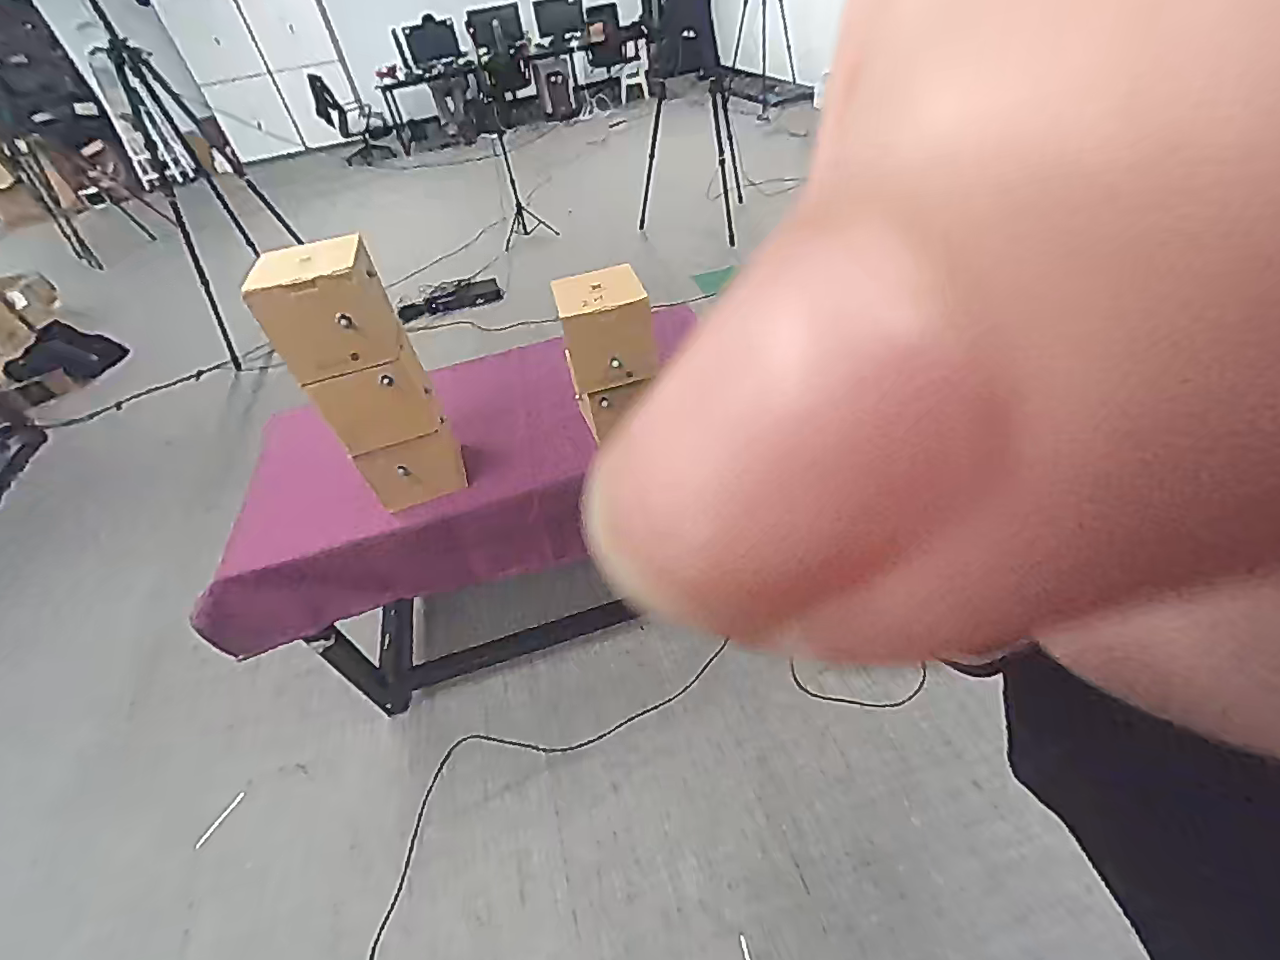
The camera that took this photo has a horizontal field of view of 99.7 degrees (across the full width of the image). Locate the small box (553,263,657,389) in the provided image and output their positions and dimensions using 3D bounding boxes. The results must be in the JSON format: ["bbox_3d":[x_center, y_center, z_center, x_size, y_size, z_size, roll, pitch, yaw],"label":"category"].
[{"bbox_3d":[-0.070,-0.307,1.081,0.168,0.176,0.179,-15,44,-3],"label":"small box"}]

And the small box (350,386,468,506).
[{"bbox_3d":[-0.489,-0.070,1.160,0.179,0.176,0.168,-19,45,-8],"label":"small box"}]

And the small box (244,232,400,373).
[{"bbox_3d":[-0.531,-0.300,0.933,0.168,0.176,0.179,-16,43,-8],"label":"small box"}]

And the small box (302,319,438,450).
[{"bbox_3d":[-0.511,-0.181,1.043,0.179,0.176,0.168,-18,44,-9],"label":"small box"}]
